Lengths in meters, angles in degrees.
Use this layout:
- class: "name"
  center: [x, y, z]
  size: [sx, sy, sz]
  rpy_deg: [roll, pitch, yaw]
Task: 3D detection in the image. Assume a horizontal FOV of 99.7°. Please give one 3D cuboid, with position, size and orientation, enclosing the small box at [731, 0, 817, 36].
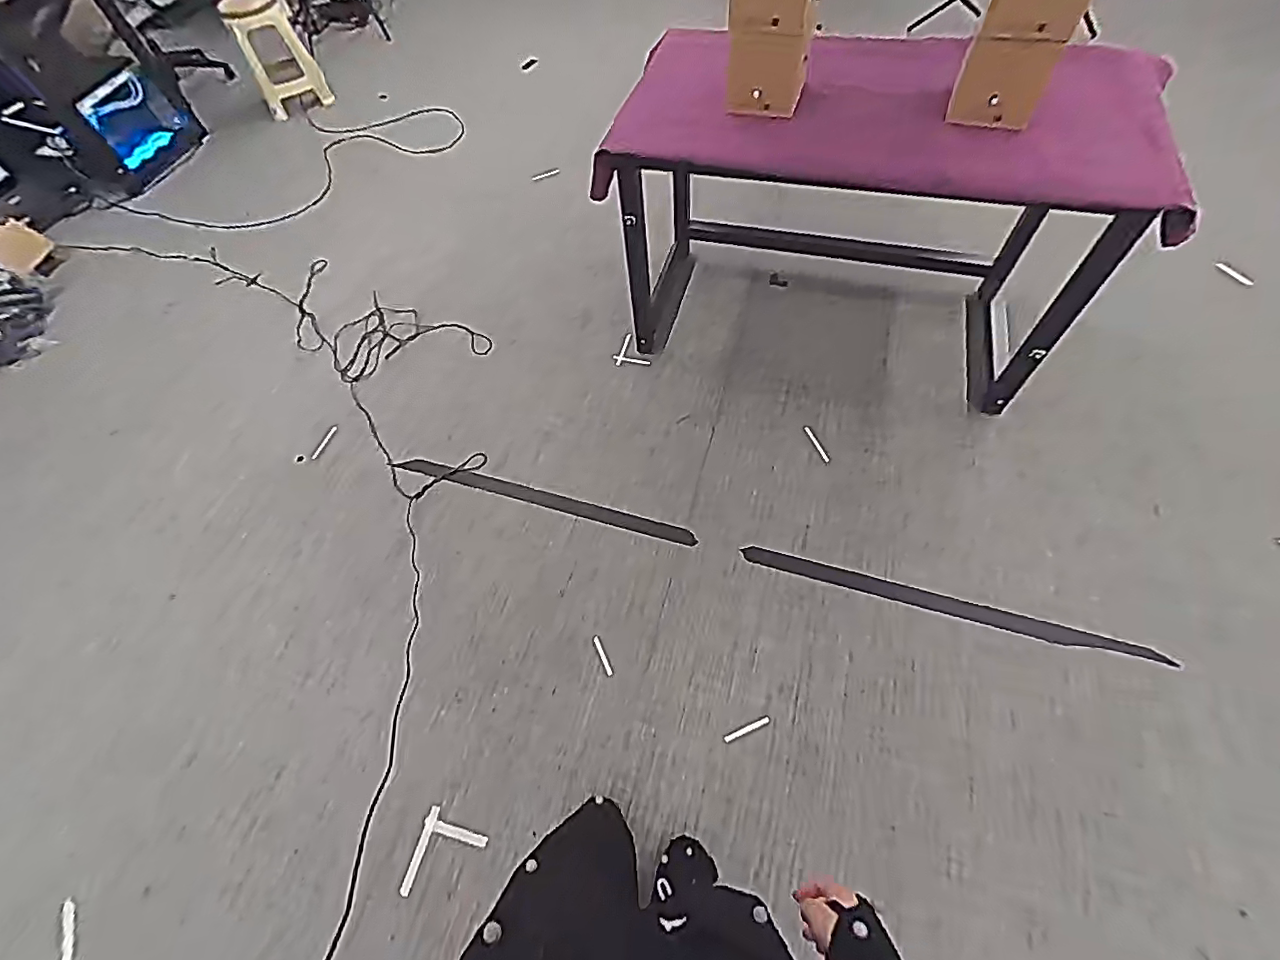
- class: "small box"
  center: [0.291, -1.074, 1.133]
  size: [0.168, 0.176, 0.179]
  rpy_deg: [15, 62, 14]

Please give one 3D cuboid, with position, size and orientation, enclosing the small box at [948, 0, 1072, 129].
- class: "small box"
  center: [0.796, -0.902, 1.174]
  size: [0.168, 0.176, 0.179]
  rpy_deg: [18, 63, 16]

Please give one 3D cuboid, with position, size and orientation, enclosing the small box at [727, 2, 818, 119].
- class: "small box"
  center: [0.306, -0.991, 1.274]
  size: [0.168, 0.176, 0.179]
  rpy_deg: [14, 63, 13]
